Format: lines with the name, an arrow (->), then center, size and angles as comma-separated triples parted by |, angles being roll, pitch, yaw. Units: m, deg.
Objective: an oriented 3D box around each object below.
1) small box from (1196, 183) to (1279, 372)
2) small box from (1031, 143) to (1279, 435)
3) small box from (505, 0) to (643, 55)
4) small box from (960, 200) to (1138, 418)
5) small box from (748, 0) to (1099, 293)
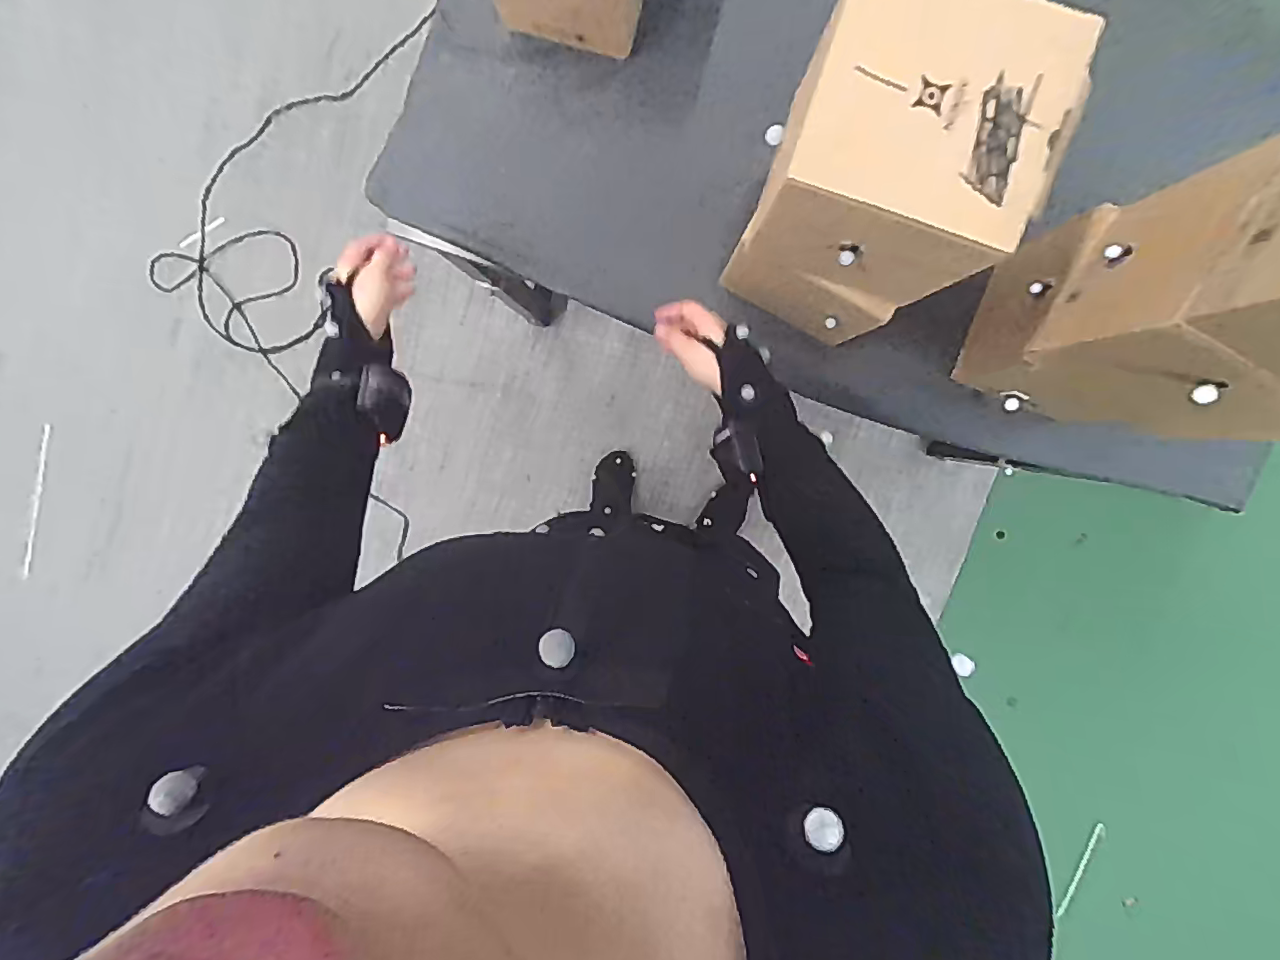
small box -> 0.503, -0.134, 0.302 | 0.179, 0.176, 0.168 | 32, 95, 0
small box -> 0.504, -0.149, 0.465 | 0.179, 0.176, 0.168 | 30, 96, -1
small box -> -0.071, -0.625, 0.588 | 0.168, 0.176, 0.179 | 15, 98, -1
small box -> 0.513, -0.179, 0.625 | 0.168, 0.176, 0.179 | 19, 96, 0
small box -> 0.209, -0.274, 0.456 | 0.179, 0.176, 0.168 | 19, 96, 0
